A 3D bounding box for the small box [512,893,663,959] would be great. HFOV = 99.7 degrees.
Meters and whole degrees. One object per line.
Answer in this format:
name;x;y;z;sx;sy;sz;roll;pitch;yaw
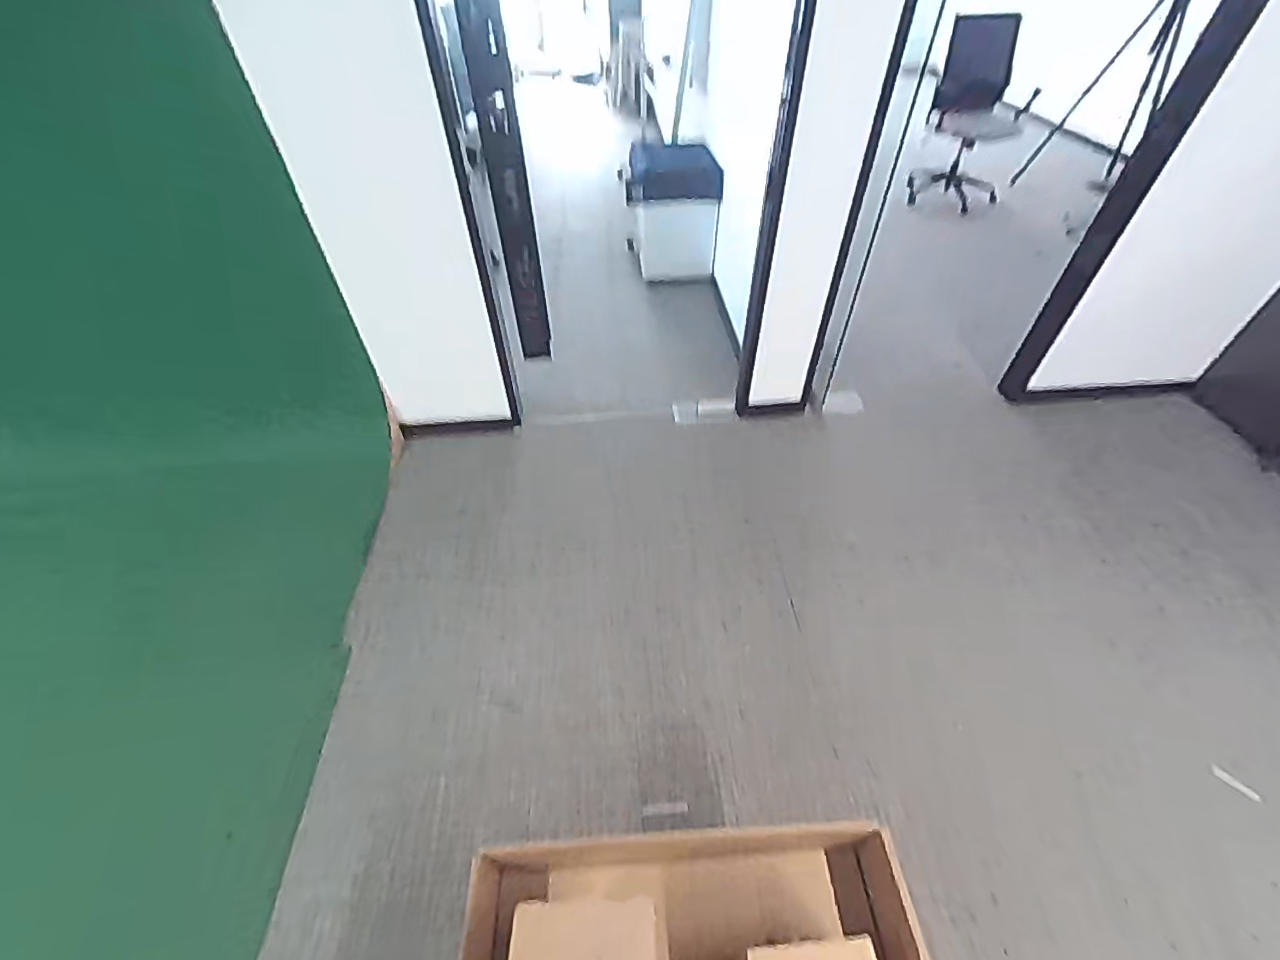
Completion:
small box;-0.057;0.597;0.585;0.168;0.176;0.179;-1;18;-4
